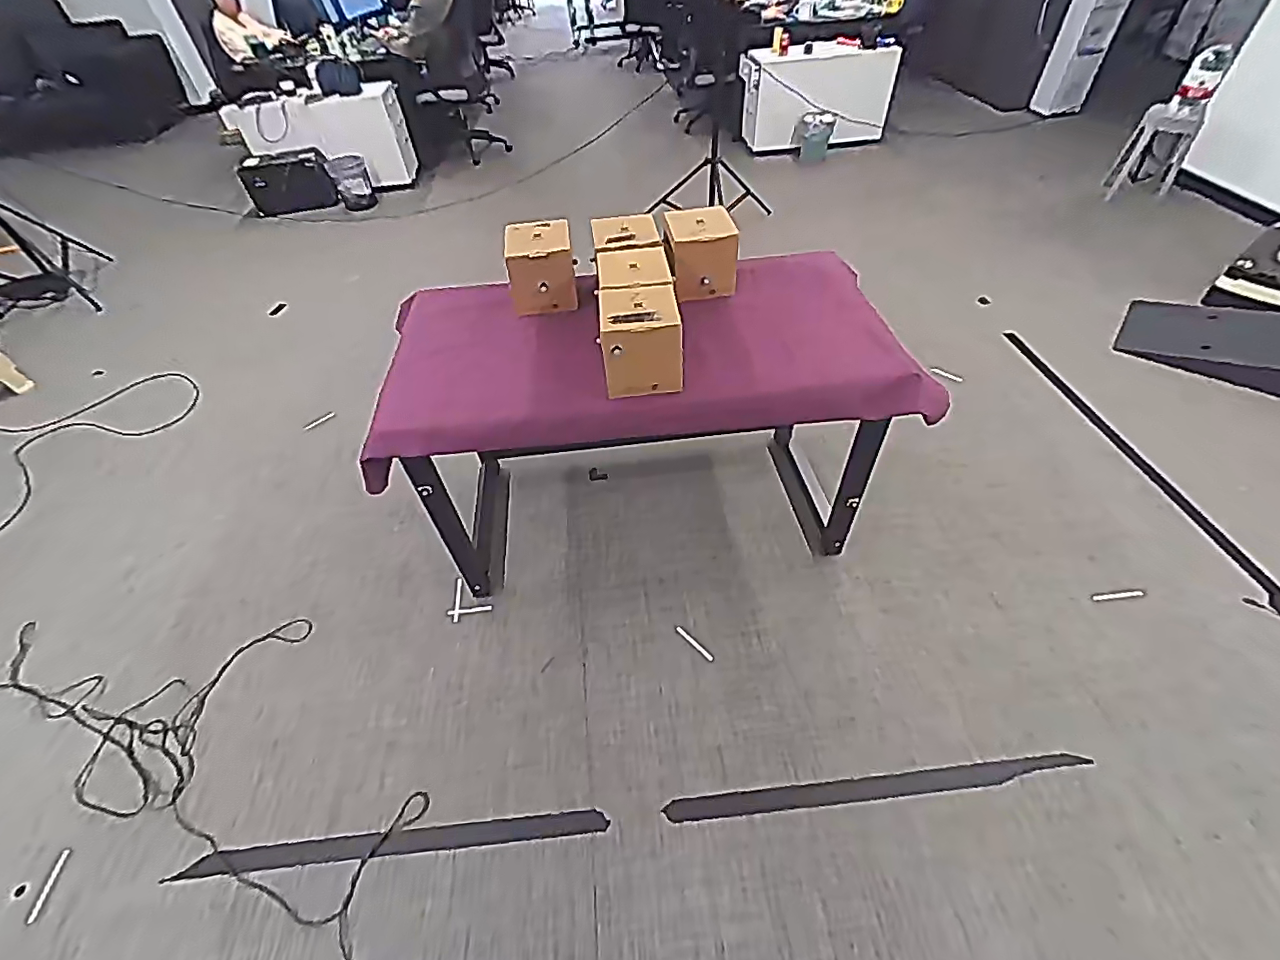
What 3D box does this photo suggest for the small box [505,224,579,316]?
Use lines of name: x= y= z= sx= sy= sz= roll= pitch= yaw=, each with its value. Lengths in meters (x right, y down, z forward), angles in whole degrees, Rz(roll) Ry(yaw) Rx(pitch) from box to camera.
small box: x=-0.257 y=-0.555 z=1.444 sx=0.168 sy=0.176 sz=0.179 roll=-7 pitch=50 yaw=-3
